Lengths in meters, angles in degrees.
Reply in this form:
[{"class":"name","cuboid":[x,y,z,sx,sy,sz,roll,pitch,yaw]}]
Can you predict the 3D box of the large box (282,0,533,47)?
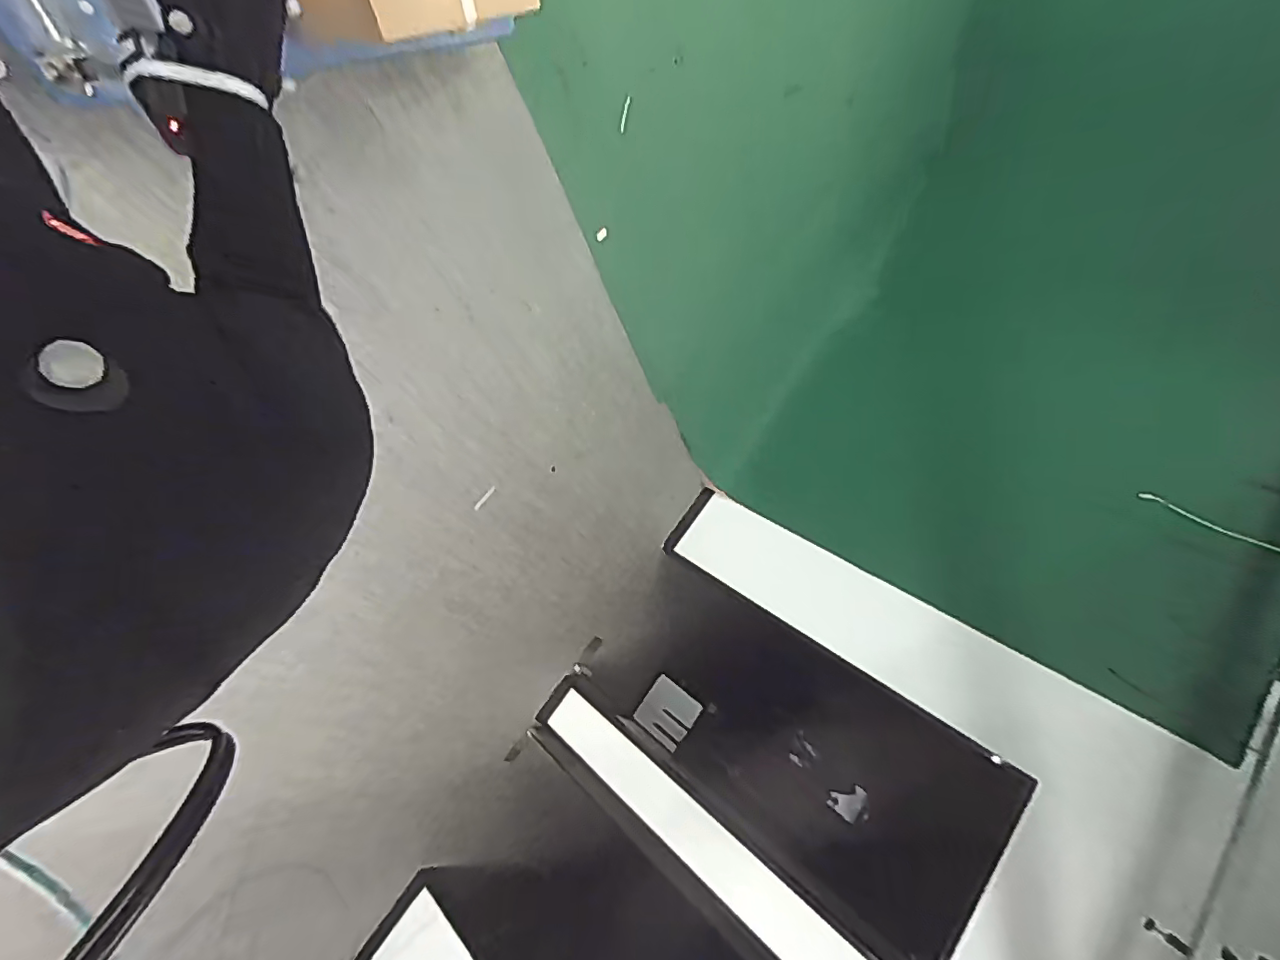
[{"class":"large box","cuboid":[-0.419,-0.937,0.815,0.320,0.320,0.408,-41,142,-29]}]
